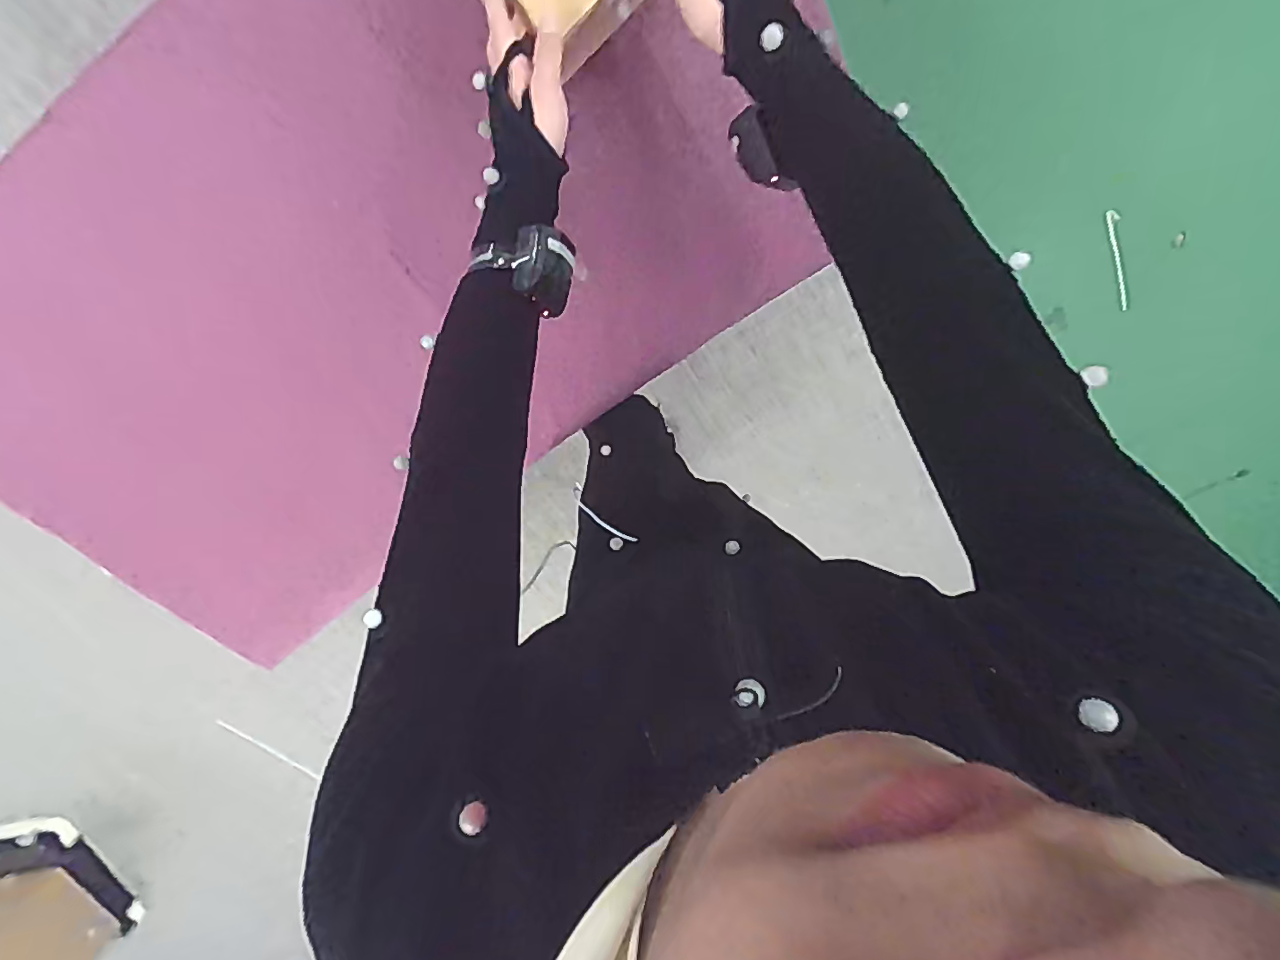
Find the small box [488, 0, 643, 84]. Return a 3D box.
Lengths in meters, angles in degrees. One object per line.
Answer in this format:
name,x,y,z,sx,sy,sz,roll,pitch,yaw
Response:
small box,-0.072,-0.509,0.489,0.179,0.176,0.168,-38,115,13
